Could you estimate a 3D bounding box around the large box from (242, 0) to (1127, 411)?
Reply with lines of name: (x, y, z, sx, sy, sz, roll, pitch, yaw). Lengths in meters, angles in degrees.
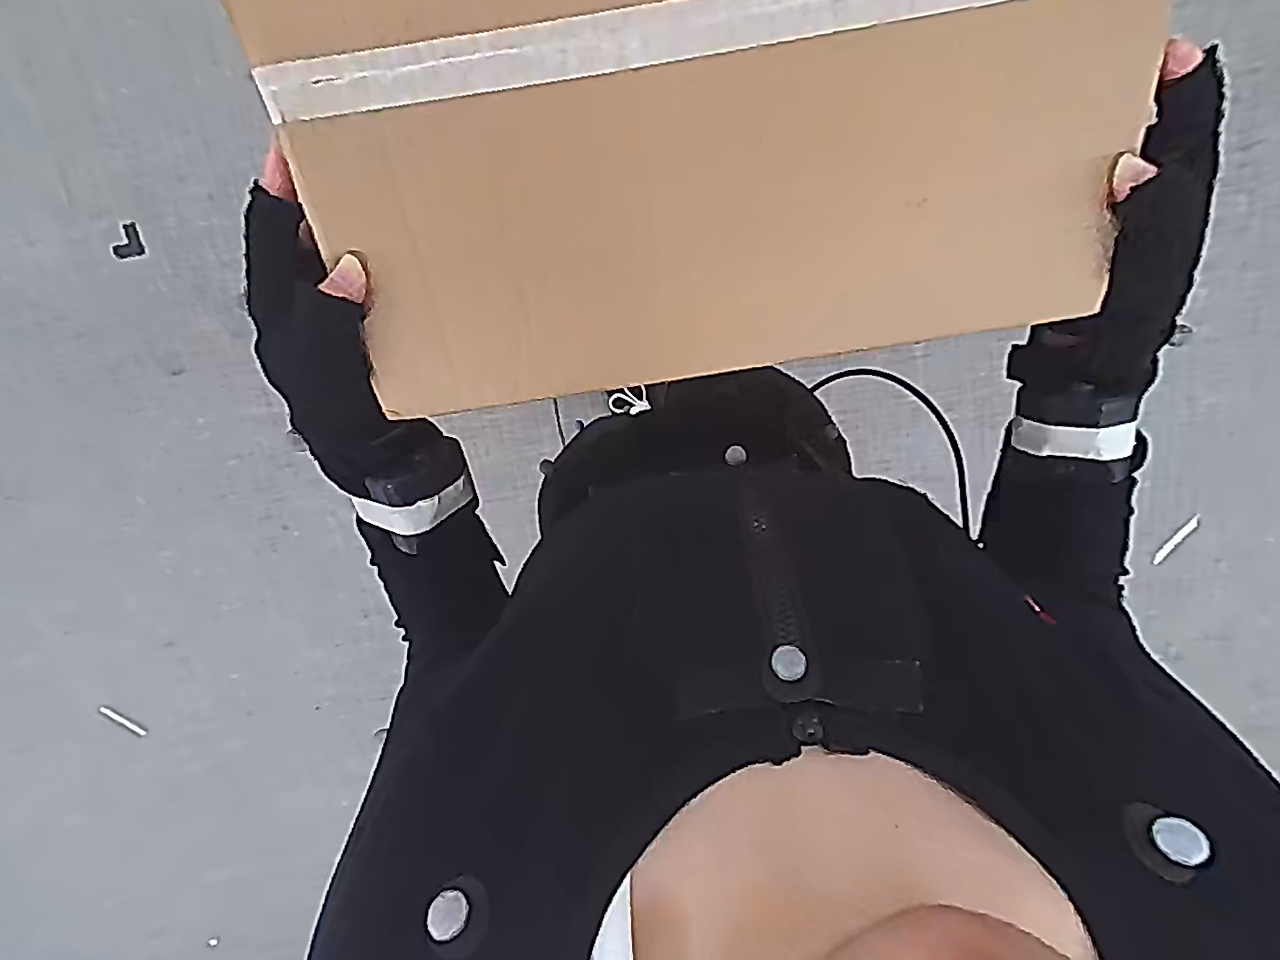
large box: (0.022, -0.273, 0.378, 0.408, 0.320, 0.320, -9, 116, 1)
